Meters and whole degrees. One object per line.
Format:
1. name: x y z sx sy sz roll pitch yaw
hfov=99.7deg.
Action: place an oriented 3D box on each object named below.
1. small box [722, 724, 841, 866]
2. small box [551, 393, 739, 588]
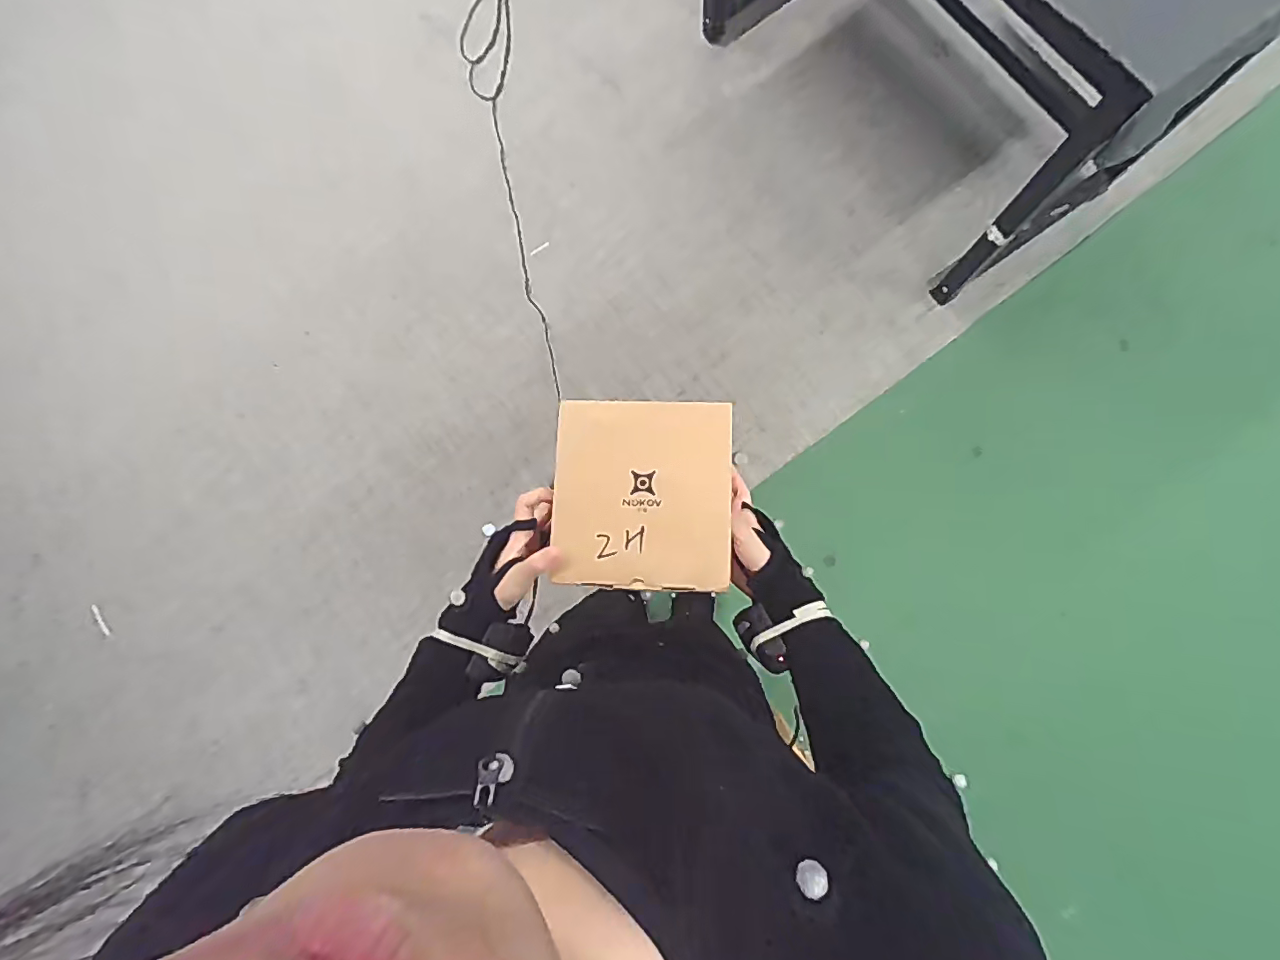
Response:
1. small box: 0.296 0.668 1.170 0.168 0.176 0.179 -37 81 -1
2. small box: 0.011 0.021 0.566 0.168 0.176 0.179 1 80 4
